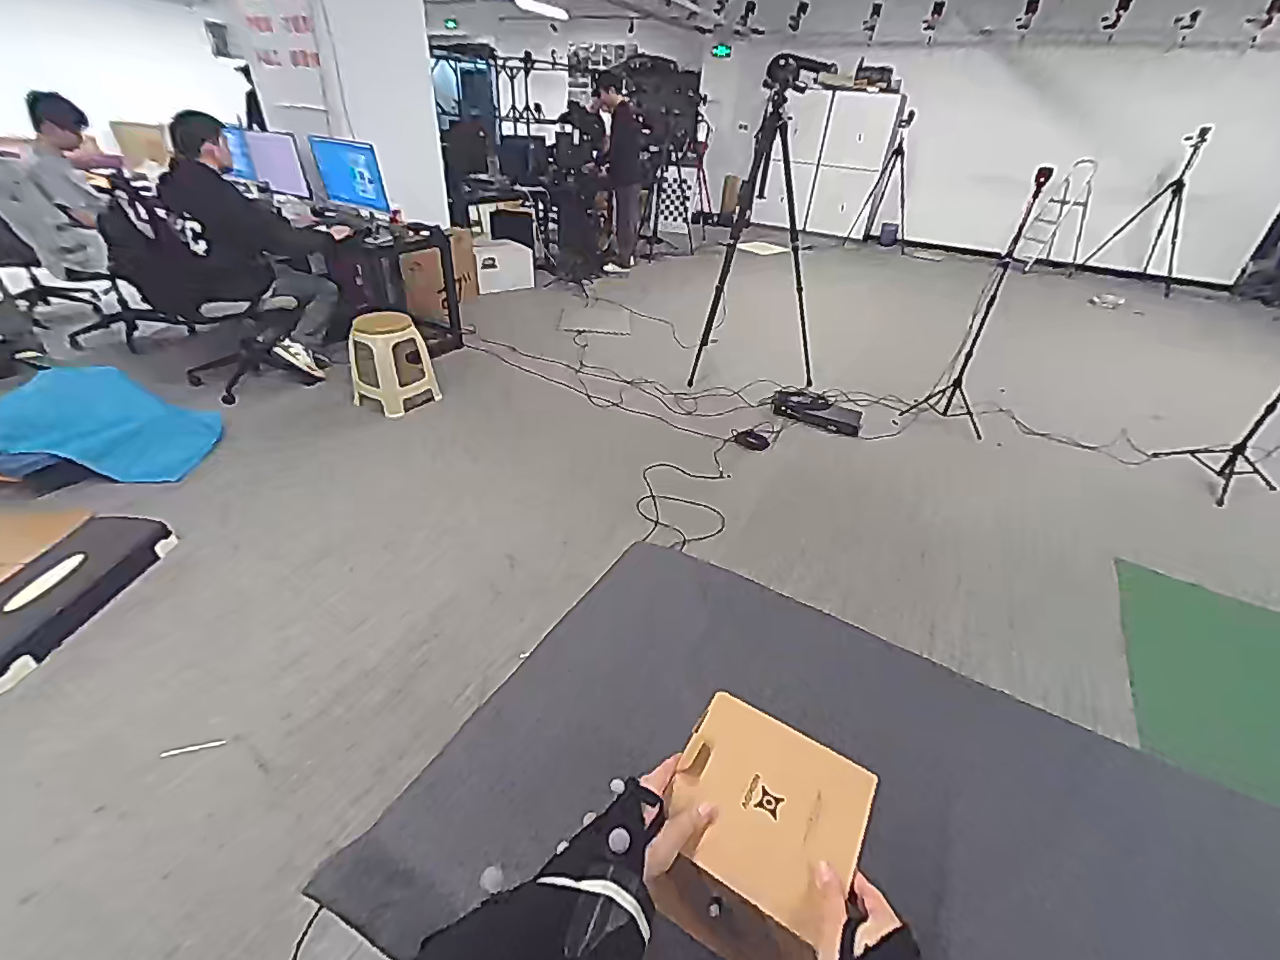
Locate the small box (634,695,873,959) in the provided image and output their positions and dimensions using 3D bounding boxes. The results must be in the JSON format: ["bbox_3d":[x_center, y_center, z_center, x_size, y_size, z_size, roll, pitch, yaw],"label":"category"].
[{"bbox_3d":[0.106,0.366,0.547,0.179,0.176,0.168,23,40,23],"label":"small box"}]
